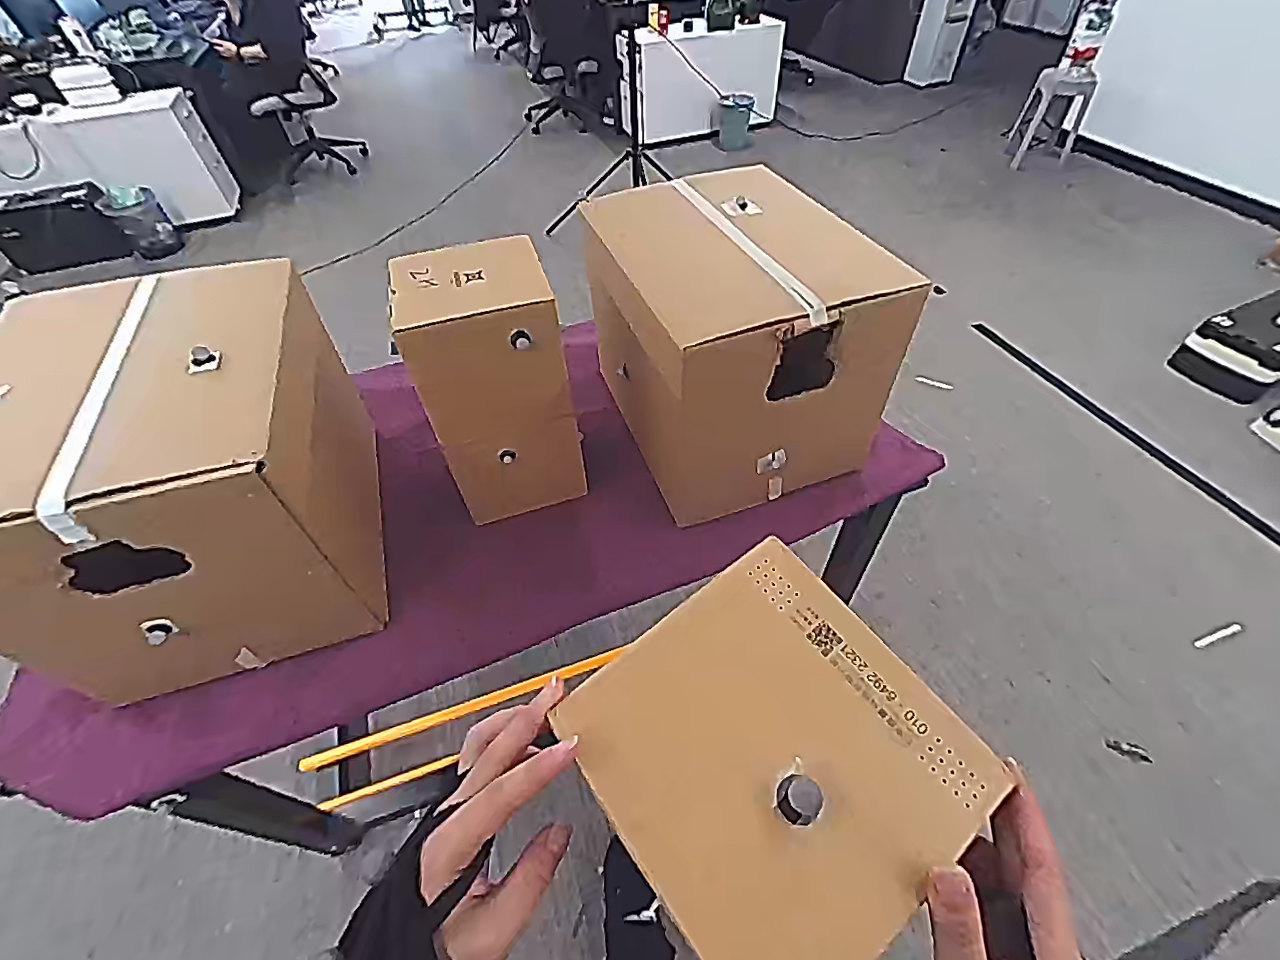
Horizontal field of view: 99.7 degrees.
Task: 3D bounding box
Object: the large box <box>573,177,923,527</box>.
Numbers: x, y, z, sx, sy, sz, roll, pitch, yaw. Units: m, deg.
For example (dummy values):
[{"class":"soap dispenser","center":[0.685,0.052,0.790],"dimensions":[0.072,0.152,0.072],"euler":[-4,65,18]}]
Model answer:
[{"class":"large box","center":[0.121,-0.205,0.816],"dimensions":[0.320,0.320,0.408],"euler":[-17,49,-12]}]
